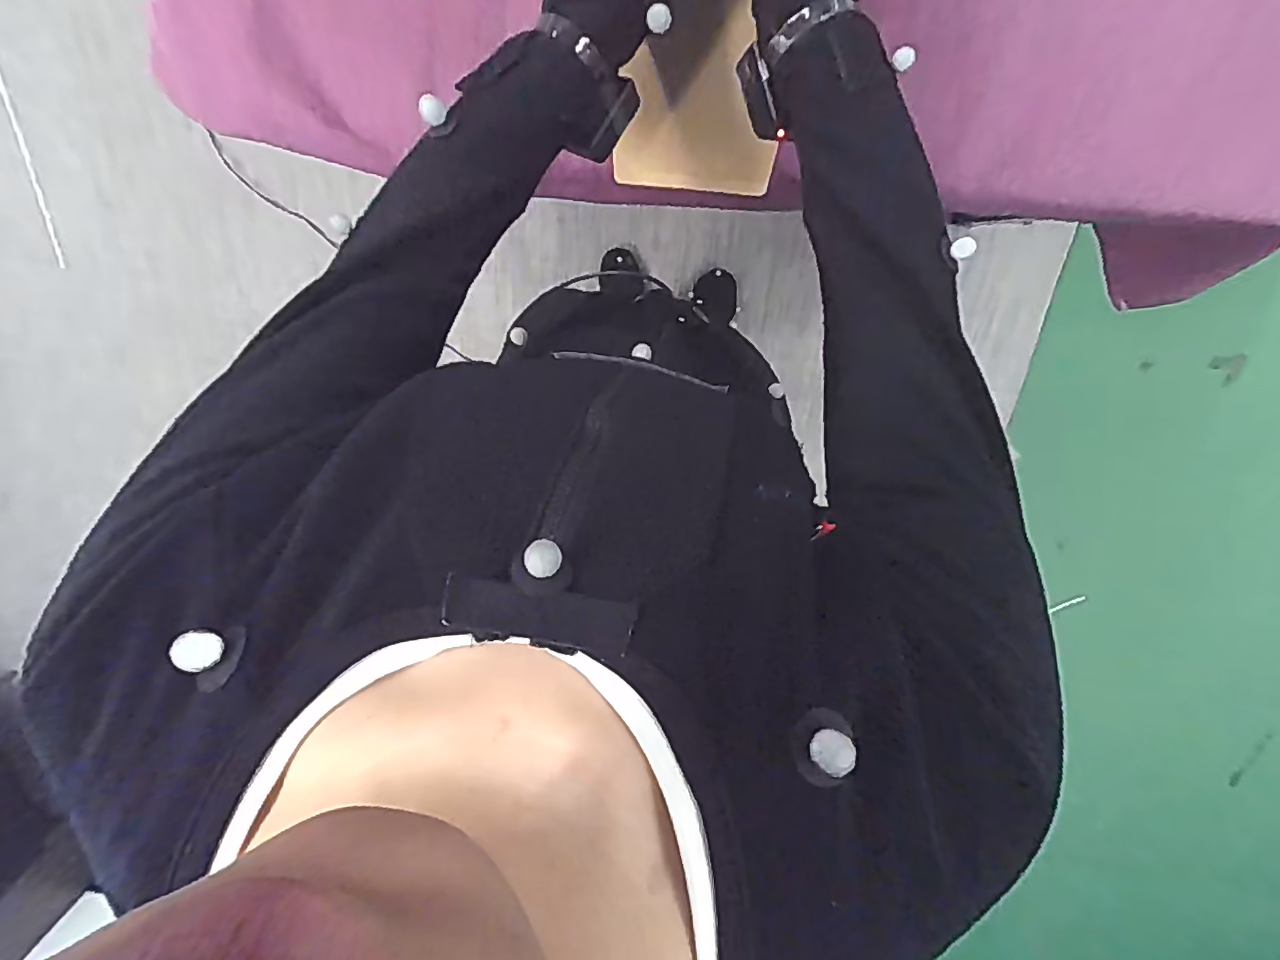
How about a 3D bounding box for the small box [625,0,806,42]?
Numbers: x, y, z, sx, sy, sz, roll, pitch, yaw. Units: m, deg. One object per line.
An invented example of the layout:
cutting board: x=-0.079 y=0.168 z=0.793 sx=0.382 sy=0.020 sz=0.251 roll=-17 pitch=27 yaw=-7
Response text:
small box: x=0.070 y=-0.490 z=0.438 sx=0.168 sy=0.176 sz=0.179 roll=6 pitch=114 yaw=2
